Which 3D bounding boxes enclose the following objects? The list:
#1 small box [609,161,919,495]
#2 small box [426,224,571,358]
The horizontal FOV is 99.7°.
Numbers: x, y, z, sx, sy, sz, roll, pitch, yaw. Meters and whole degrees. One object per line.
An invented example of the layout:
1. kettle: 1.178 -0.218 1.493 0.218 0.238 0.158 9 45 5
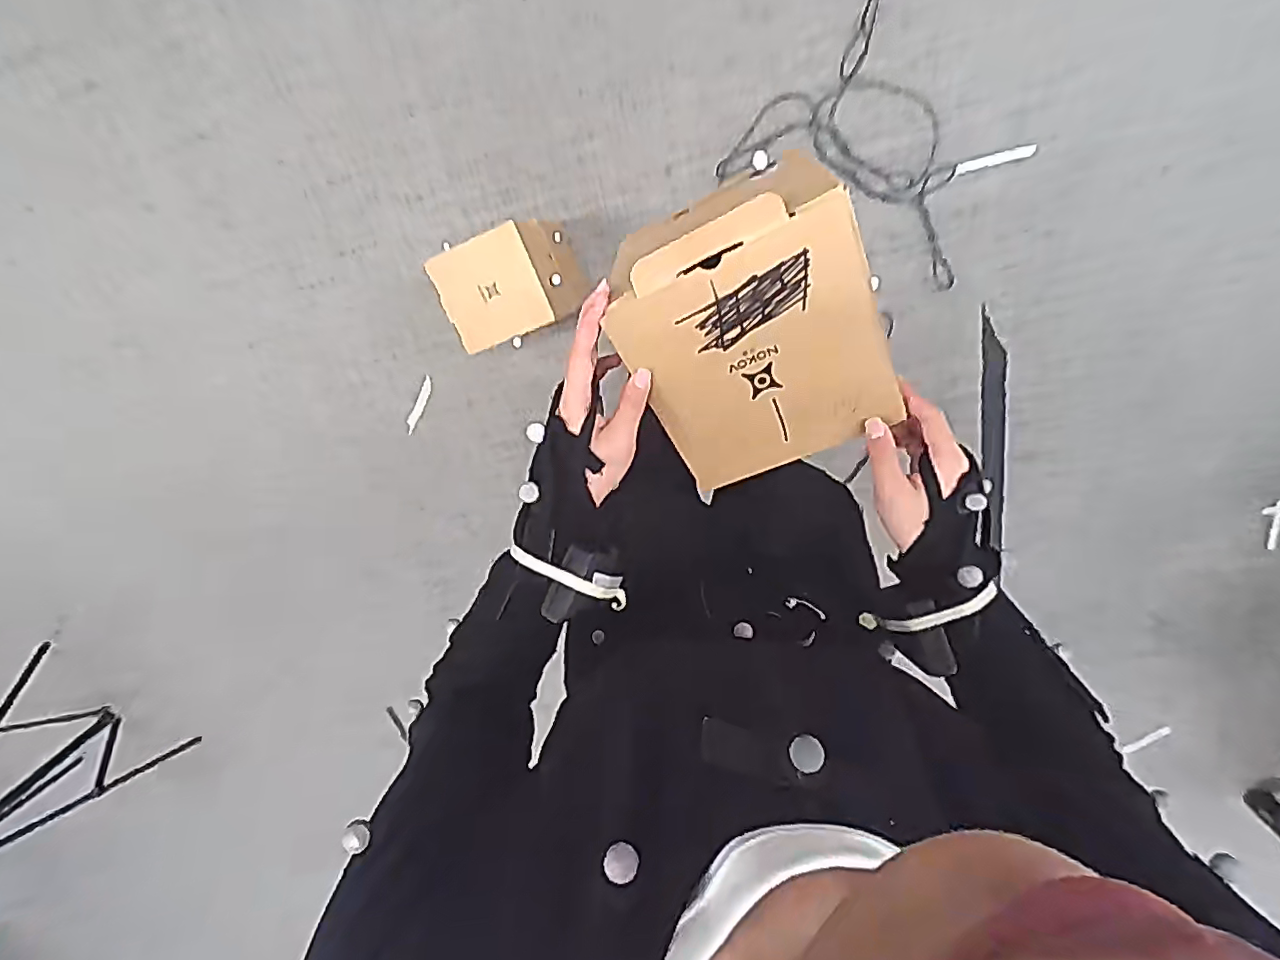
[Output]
1. small box: 0.093 -0.124 0.428 0.168 0.176 0.179 -20 125 21
2. small box: -0.235 -0.340 0.962 0.179 0.176 0.168 -18 111 15
